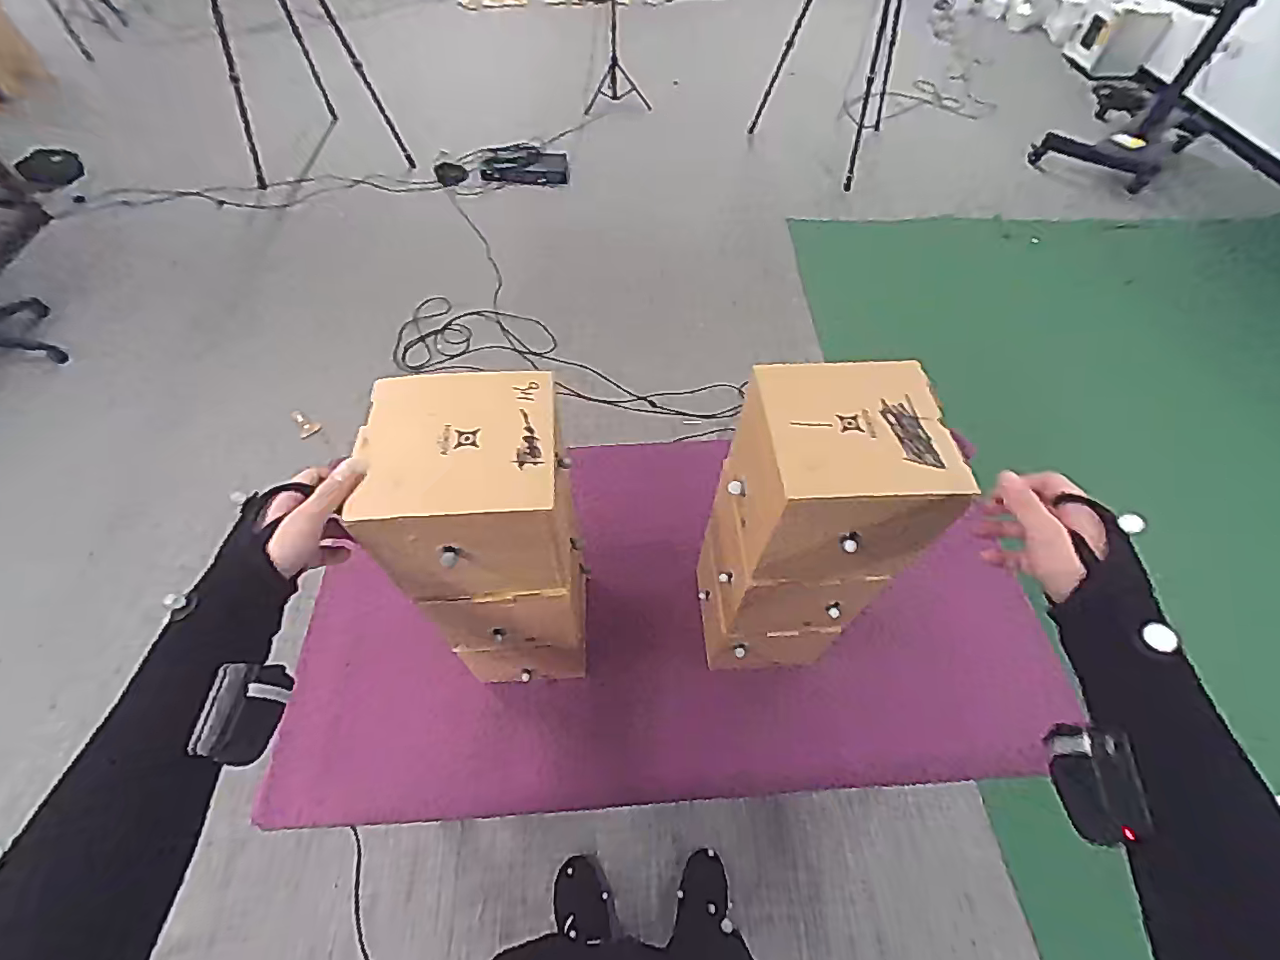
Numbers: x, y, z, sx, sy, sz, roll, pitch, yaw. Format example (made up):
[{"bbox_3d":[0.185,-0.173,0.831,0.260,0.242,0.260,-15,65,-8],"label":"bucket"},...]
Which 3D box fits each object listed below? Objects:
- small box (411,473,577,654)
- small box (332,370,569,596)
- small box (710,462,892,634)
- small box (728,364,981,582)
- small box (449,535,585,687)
[{"bbox_3d":[-0.169,0.104,0.683,0.168,0.176,0.179,-3,56,-4],"label":"small box"},{"bbox_3d":[-0.169,0.010,0.548,0.179,0.176,0.168,-3,55,-4],"label":"small box"},{"bbox_3d":[0.190,0.092,0.700,0.168,0.176,0.179,-2,55,-4],"label":"small box"},{"bbox_3d":[0.201,-0.002,0.567,0.179,0.176,0.168,-2,55,-3],"label":"small box"},{"bbox_3d":[-0.173,0.198,0.815,0.168,0.176,0.179,-2,56,-2],"label":"small box"}]
